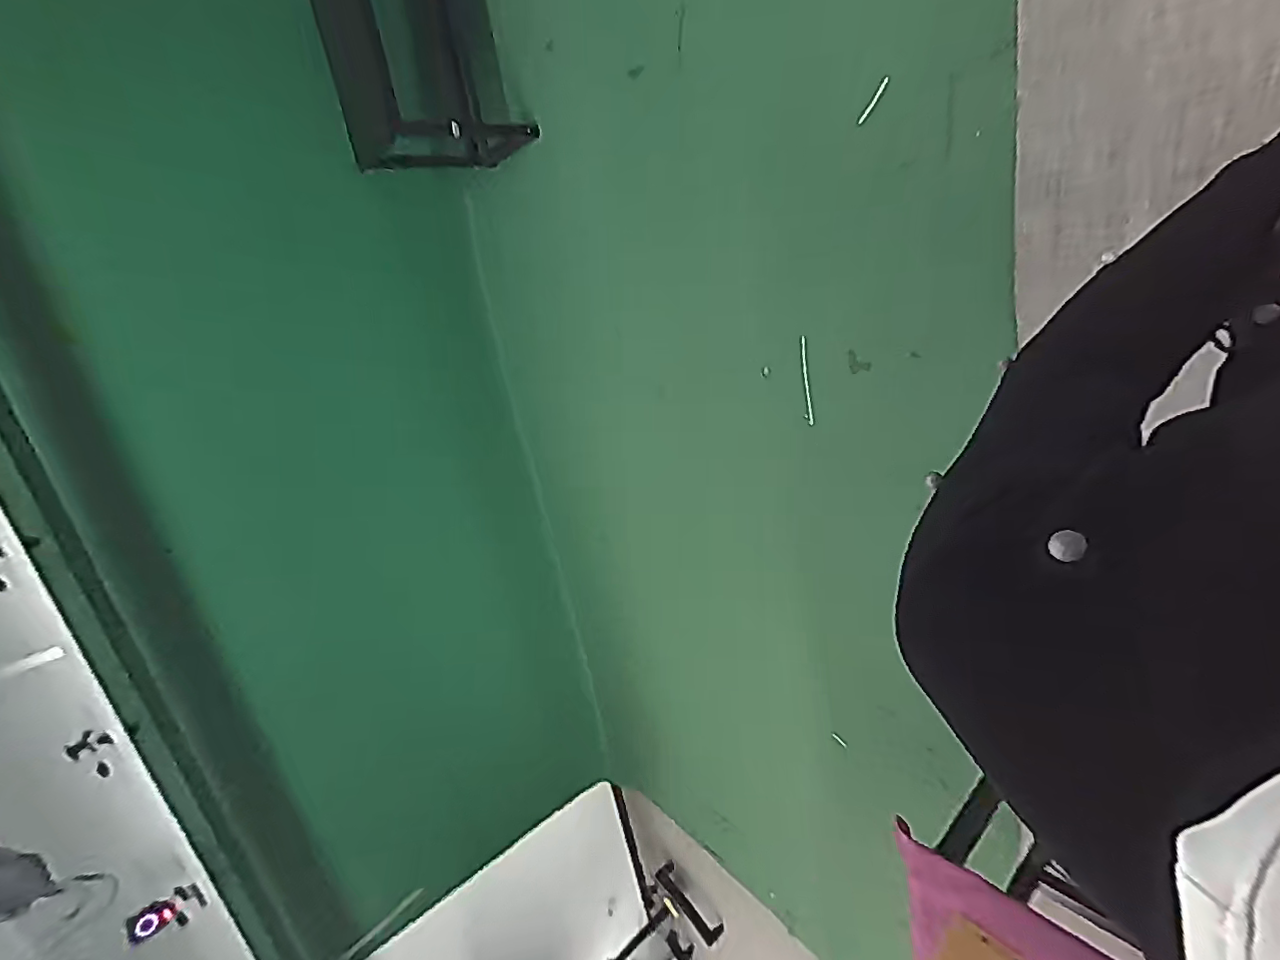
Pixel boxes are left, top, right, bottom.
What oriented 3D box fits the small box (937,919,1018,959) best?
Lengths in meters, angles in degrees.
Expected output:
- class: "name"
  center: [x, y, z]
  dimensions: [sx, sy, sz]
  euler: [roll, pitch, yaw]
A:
- class: "small box"
  center: [0.719, 1.090, 1.133]
  dimensions: [0.168, 0.176, 0.179]
  euler: [14, 121, 49]
